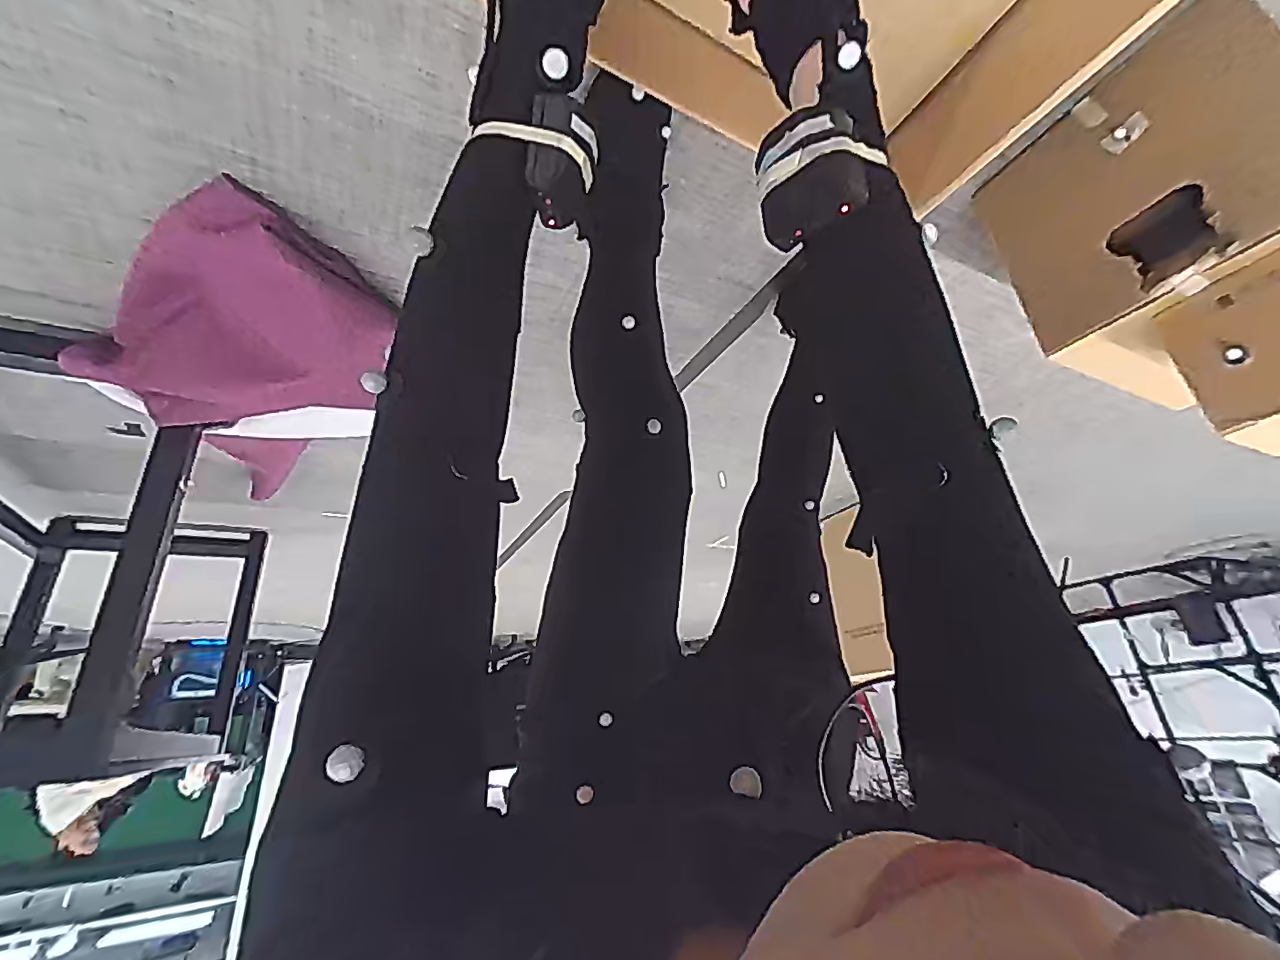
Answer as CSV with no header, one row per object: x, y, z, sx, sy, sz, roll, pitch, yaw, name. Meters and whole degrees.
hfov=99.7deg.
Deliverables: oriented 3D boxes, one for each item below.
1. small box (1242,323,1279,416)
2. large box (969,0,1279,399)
0.916,-0.134,0.672,0.168,0.176,0.179,10,150,-30,small box
0.767,-0.351,0.755,0.408,0.320,0.320,7,154,-27,large box
